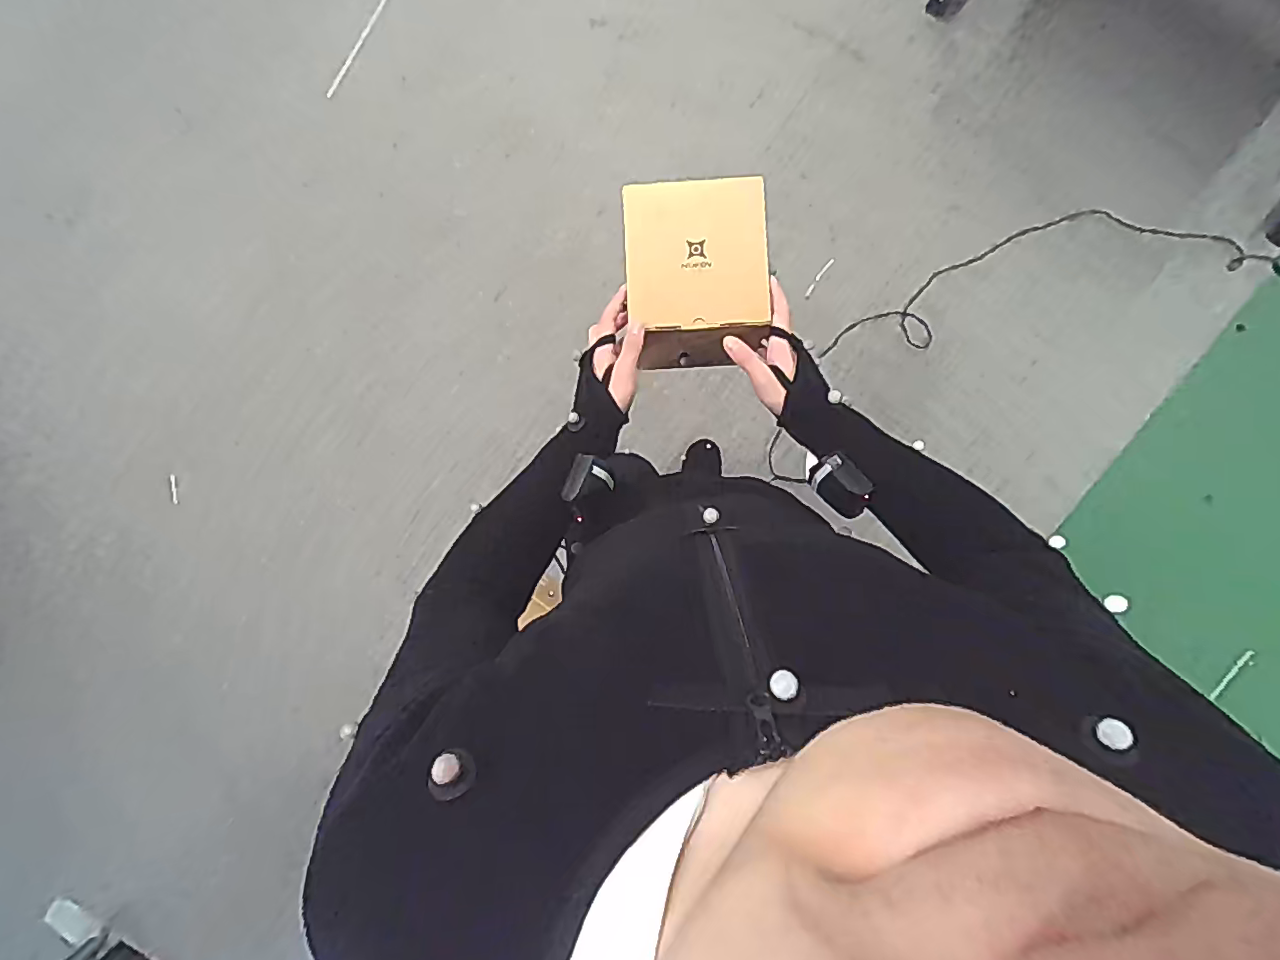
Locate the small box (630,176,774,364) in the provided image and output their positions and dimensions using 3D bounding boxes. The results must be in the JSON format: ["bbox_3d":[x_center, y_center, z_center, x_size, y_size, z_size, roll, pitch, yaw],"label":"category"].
[{"bbox_3d":[0.071,-0.260,0.700,0.168,0.176,0.179,-2,88,1],"label":"small box"}]
